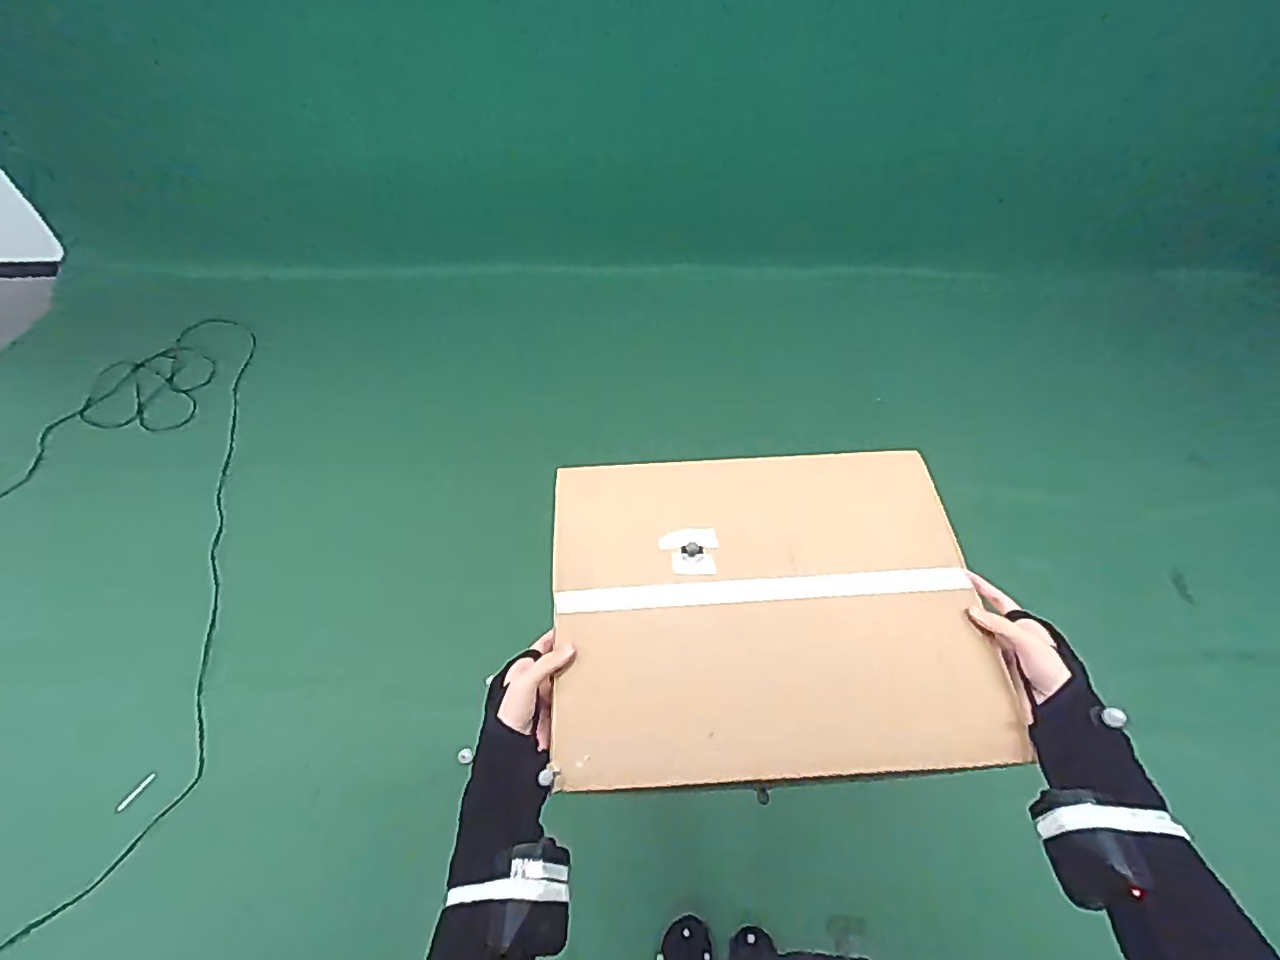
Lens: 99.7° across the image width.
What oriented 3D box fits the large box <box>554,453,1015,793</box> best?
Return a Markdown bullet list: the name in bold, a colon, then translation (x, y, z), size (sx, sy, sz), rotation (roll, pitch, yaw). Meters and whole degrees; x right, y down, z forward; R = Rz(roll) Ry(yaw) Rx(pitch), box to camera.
- **large box**: translation (0.121, 0.191, 0.661), size (0.408, 0.320, 0.320), rotation (-4, 58, 0)
